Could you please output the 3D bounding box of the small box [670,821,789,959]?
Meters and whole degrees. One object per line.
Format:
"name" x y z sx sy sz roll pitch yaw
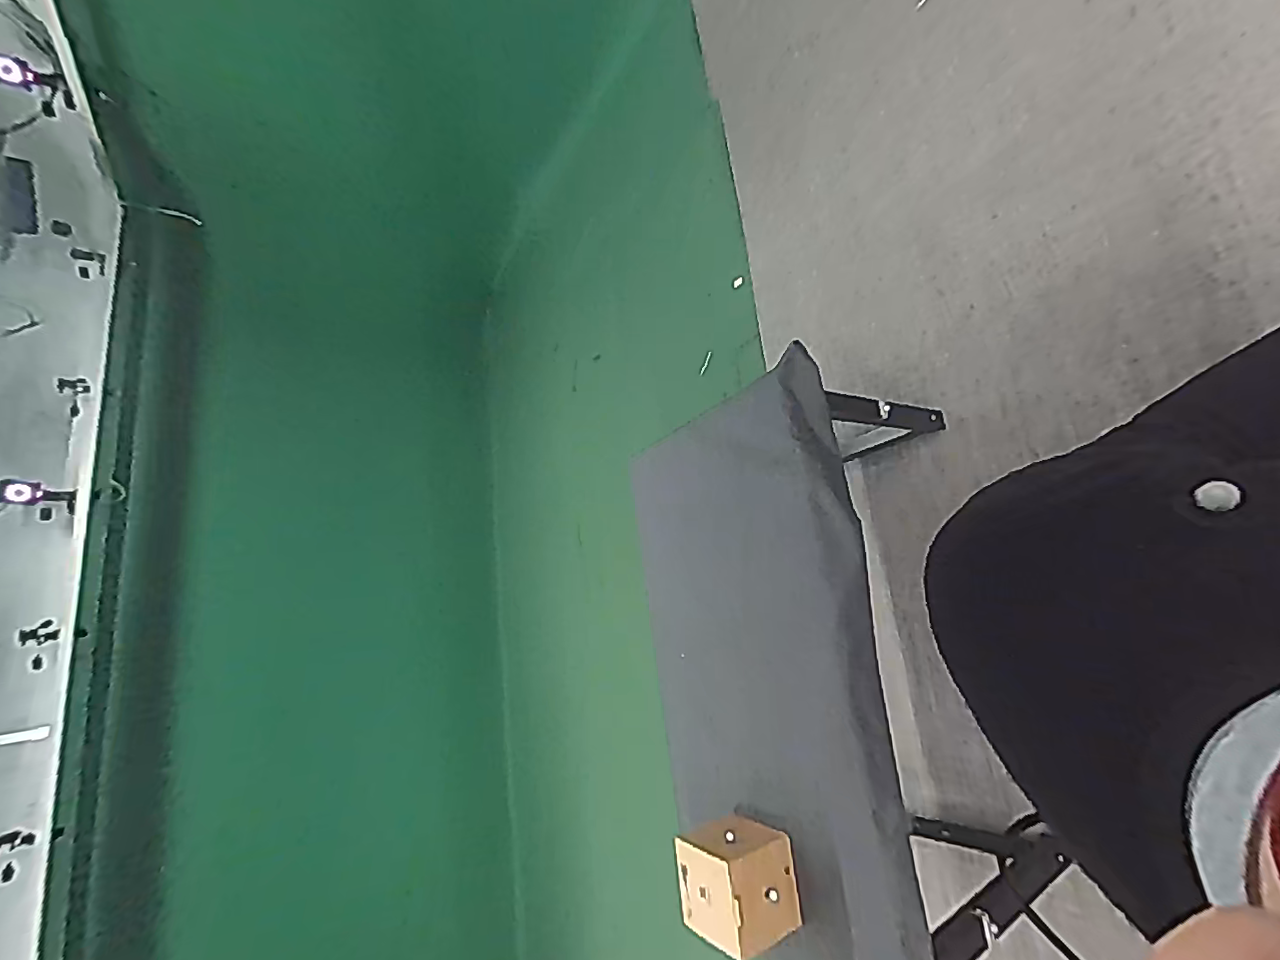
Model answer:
"small box" 0.186 0.827 1.106 0.179 0.176 0.168 -23 68 52
